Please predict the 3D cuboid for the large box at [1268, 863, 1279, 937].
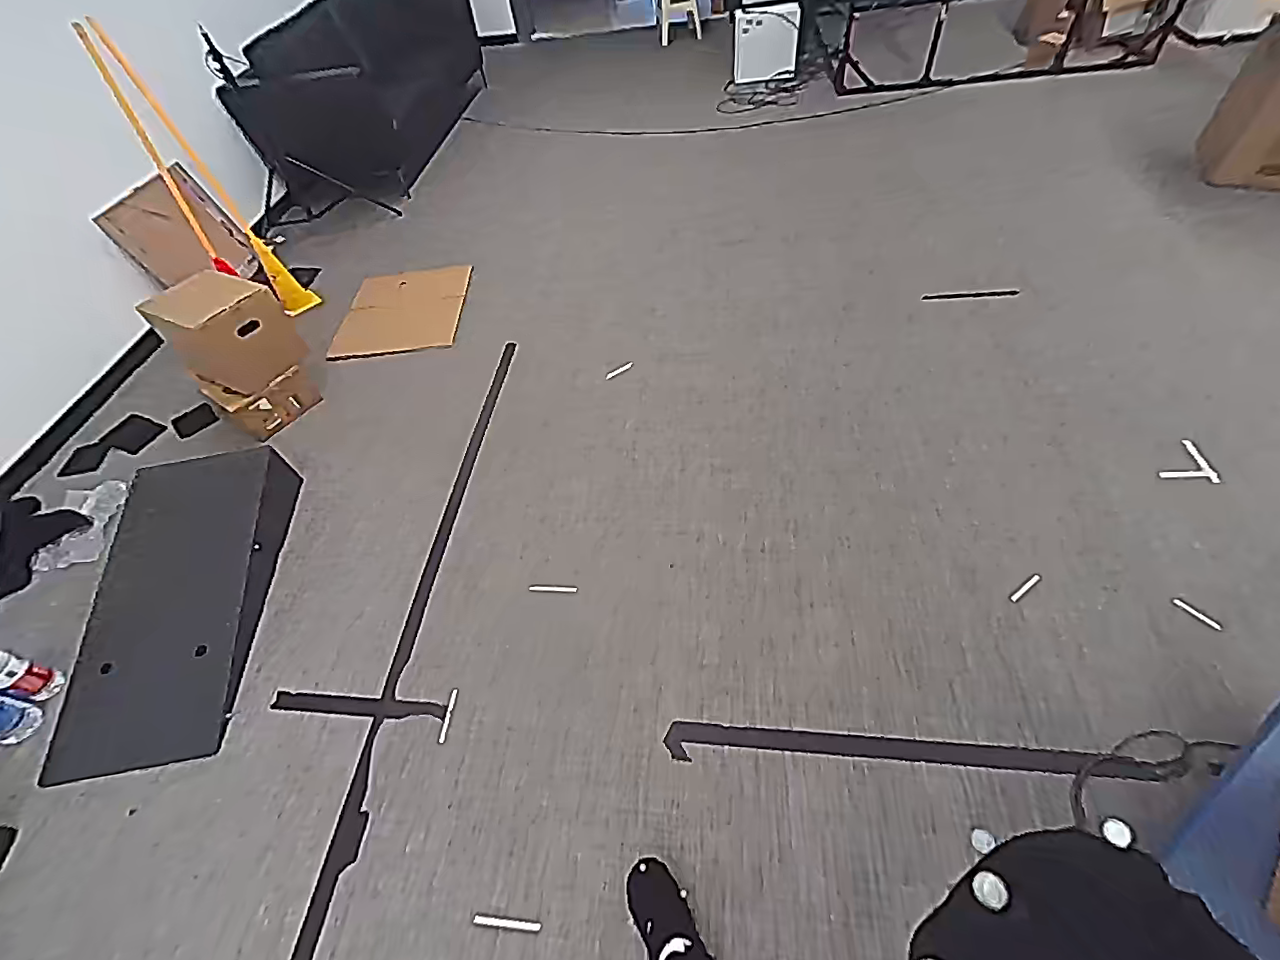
[{"bbox_3d":[1.286,0.668,0.766,0.408,0.320,0.320,35,64,29],"label":"large box"}]
